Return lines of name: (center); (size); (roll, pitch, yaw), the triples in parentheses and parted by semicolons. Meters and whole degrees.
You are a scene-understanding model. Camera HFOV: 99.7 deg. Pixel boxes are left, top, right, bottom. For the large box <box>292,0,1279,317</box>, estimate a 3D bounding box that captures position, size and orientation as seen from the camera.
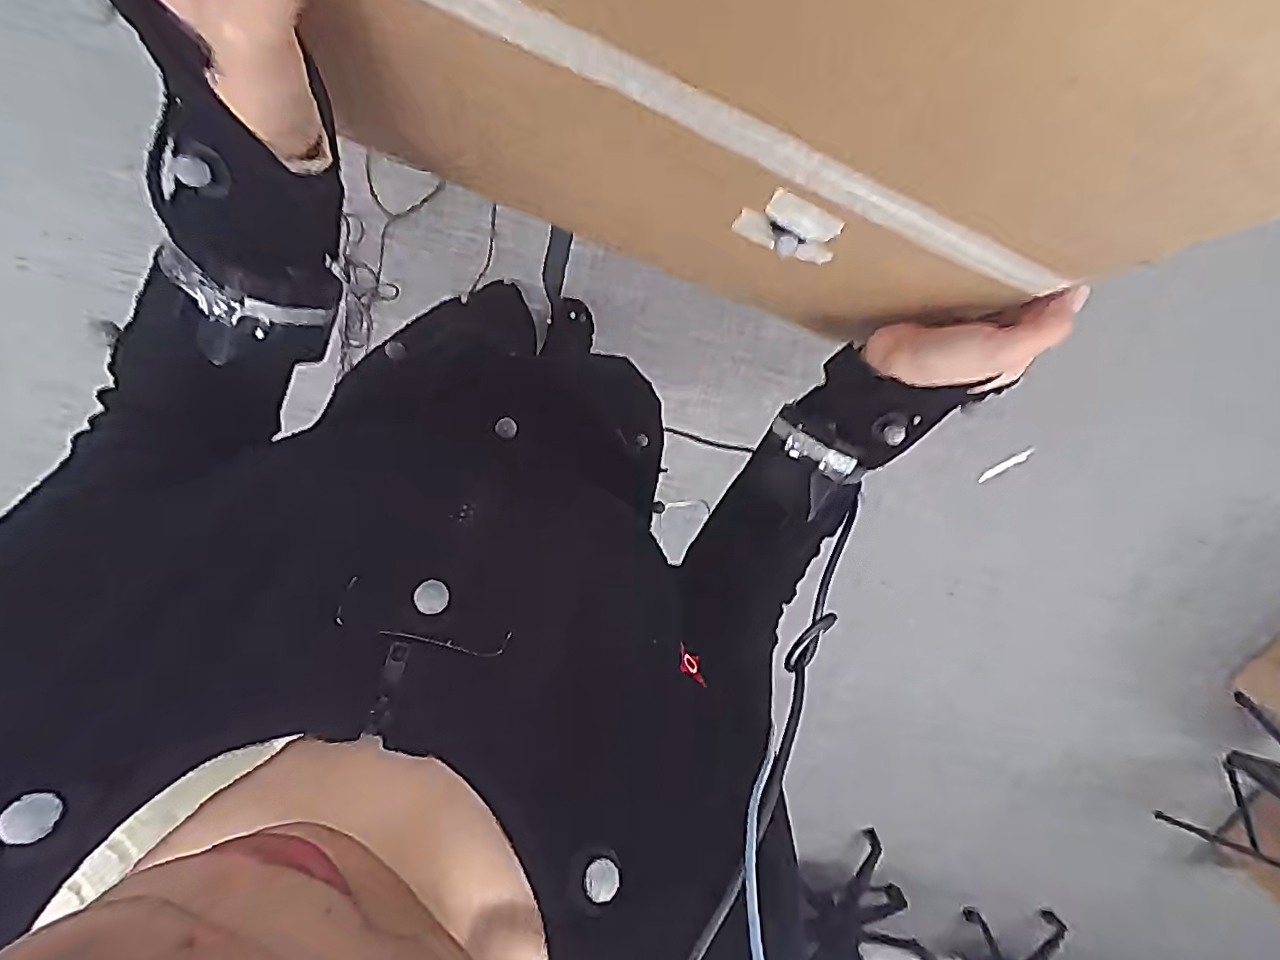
large box: (0.085, -0.314, 0.215); (0.408, 0.320, 0.320); (16, 88, -14)
